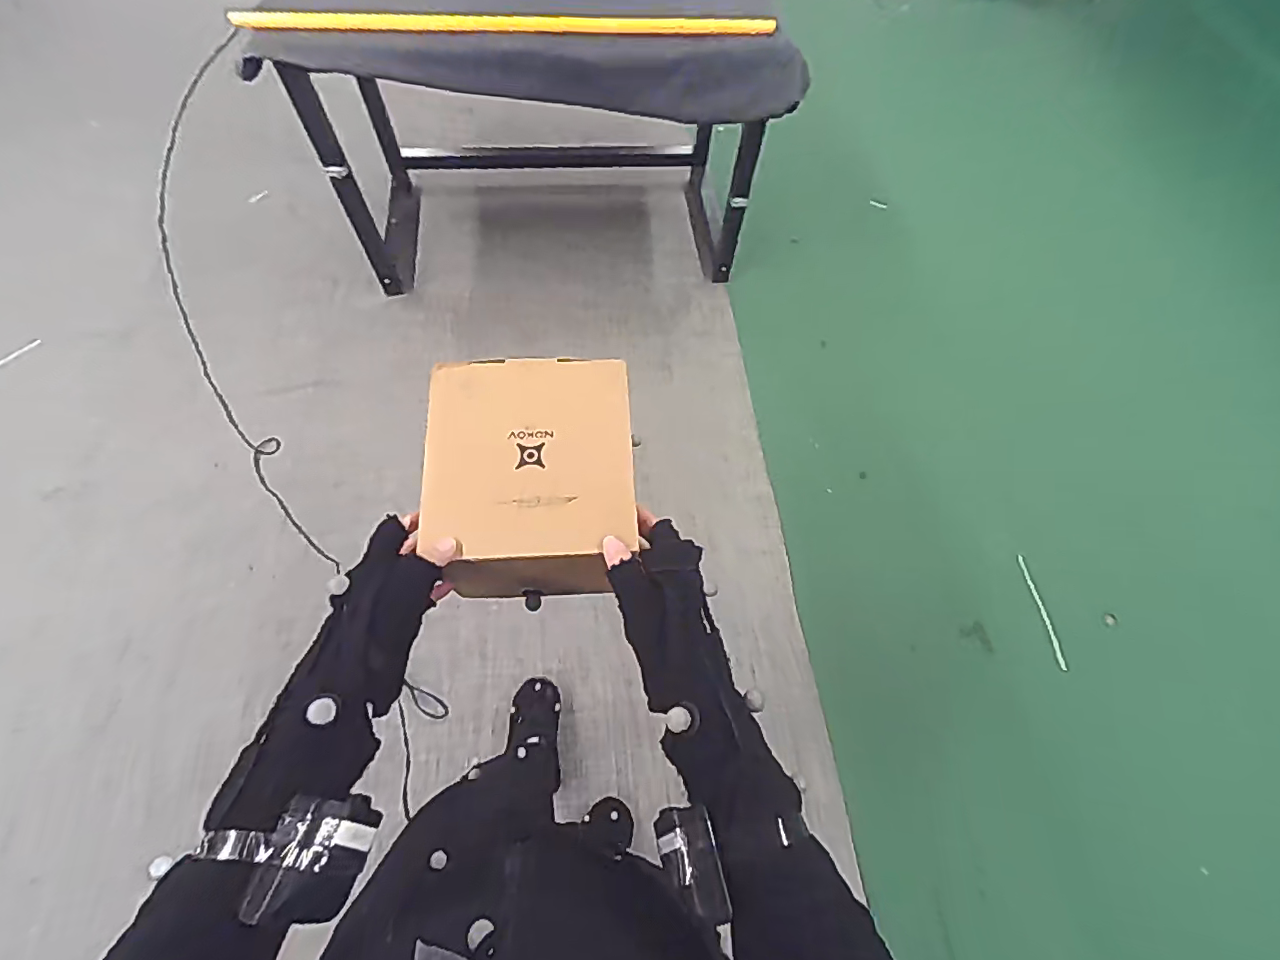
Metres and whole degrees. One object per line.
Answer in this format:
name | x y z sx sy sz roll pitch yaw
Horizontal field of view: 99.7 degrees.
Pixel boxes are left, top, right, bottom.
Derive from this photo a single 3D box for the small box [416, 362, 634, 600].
small box | -0.096 0.008 0.512 0.168 0.176 0.179 -2 68 -5
